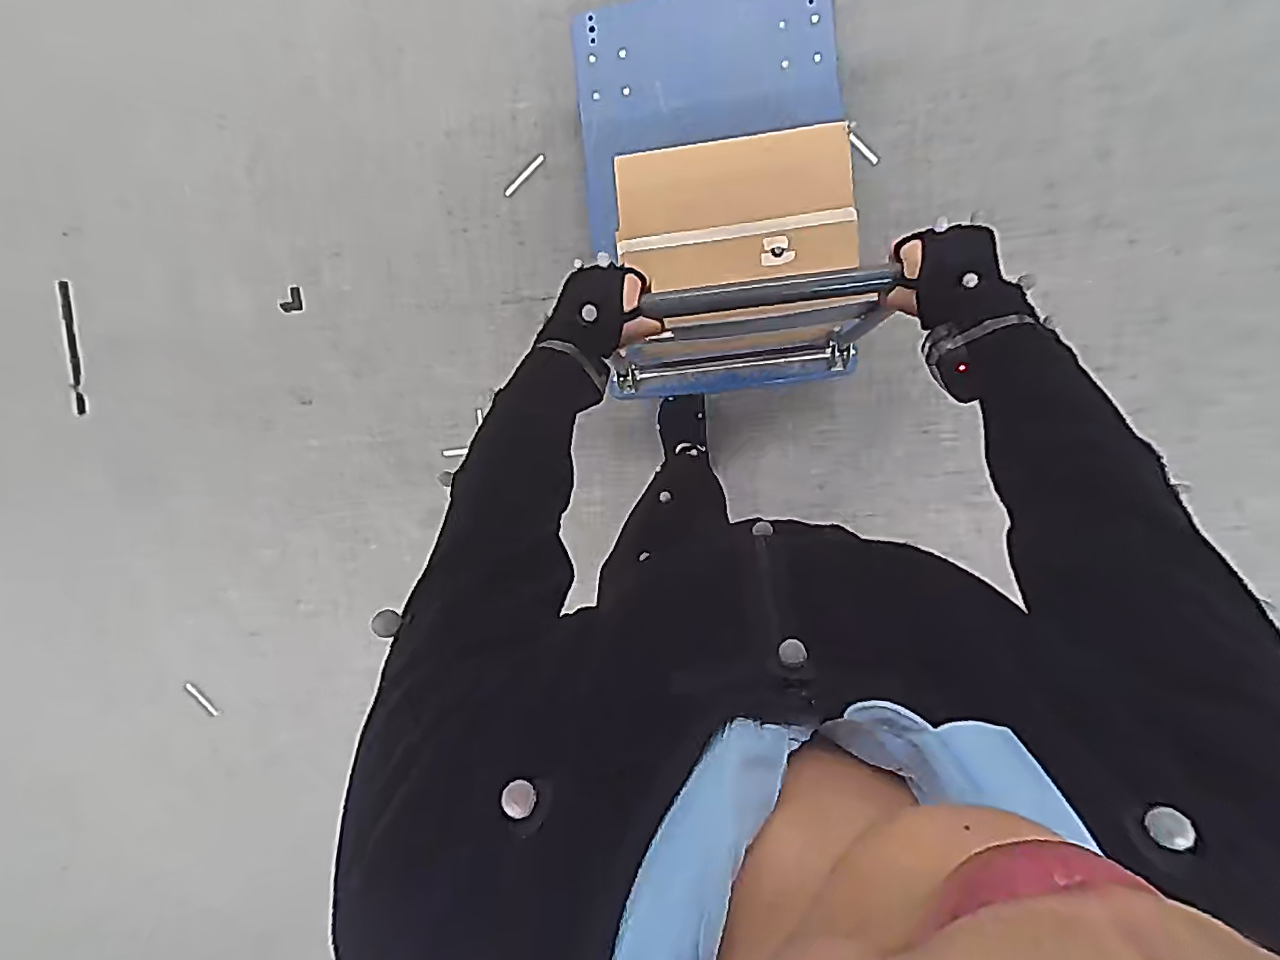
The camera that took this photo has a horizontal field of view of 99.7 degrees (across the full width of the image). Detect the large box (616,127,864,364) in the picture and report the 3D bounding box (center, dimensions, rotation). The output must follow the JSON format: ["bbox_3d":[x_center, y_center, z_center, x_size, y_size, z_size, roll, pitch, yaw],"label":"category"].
[{"bbox_3d":[0.183,-0.430,1.081,0.408,0.320,0.320,-6,95,6],"label":"large box"}]
